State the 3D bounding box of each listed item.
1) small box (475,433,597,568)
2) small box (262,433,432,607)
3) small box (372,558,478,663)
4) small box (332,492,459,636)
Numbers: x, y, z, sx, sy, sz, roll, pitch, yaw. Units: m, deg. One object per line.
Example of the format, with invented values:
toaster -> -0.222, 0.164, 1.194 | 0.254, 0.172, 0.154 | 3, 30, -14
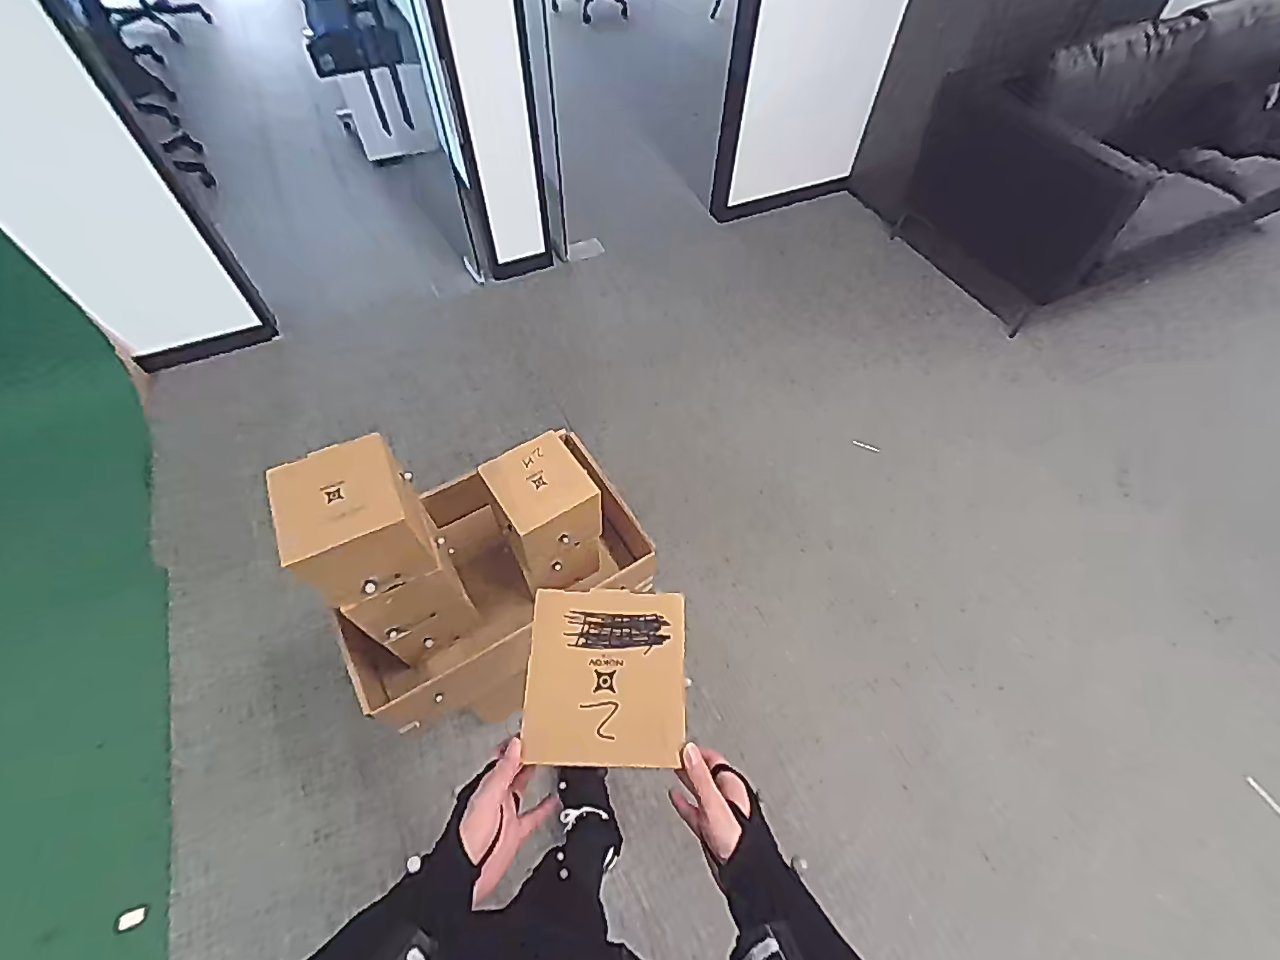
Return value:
small box -> -0.192, 0.048, 1.043 | 0.168, 0.176, 0.179 | -28, 62, -21
small box -> -0.439, 0.064, 0.826 | 0.168, 0.176, 0.179 | -22, 60, -16
small box -> -0.447, 0.250, 1.095 | 0.168, 0.176, 0.179 | -27, 61, -18
small box -> -0.440, 0.156, 0.960 | 0.168, 0.176, 0.179 | -23, 59, -17
